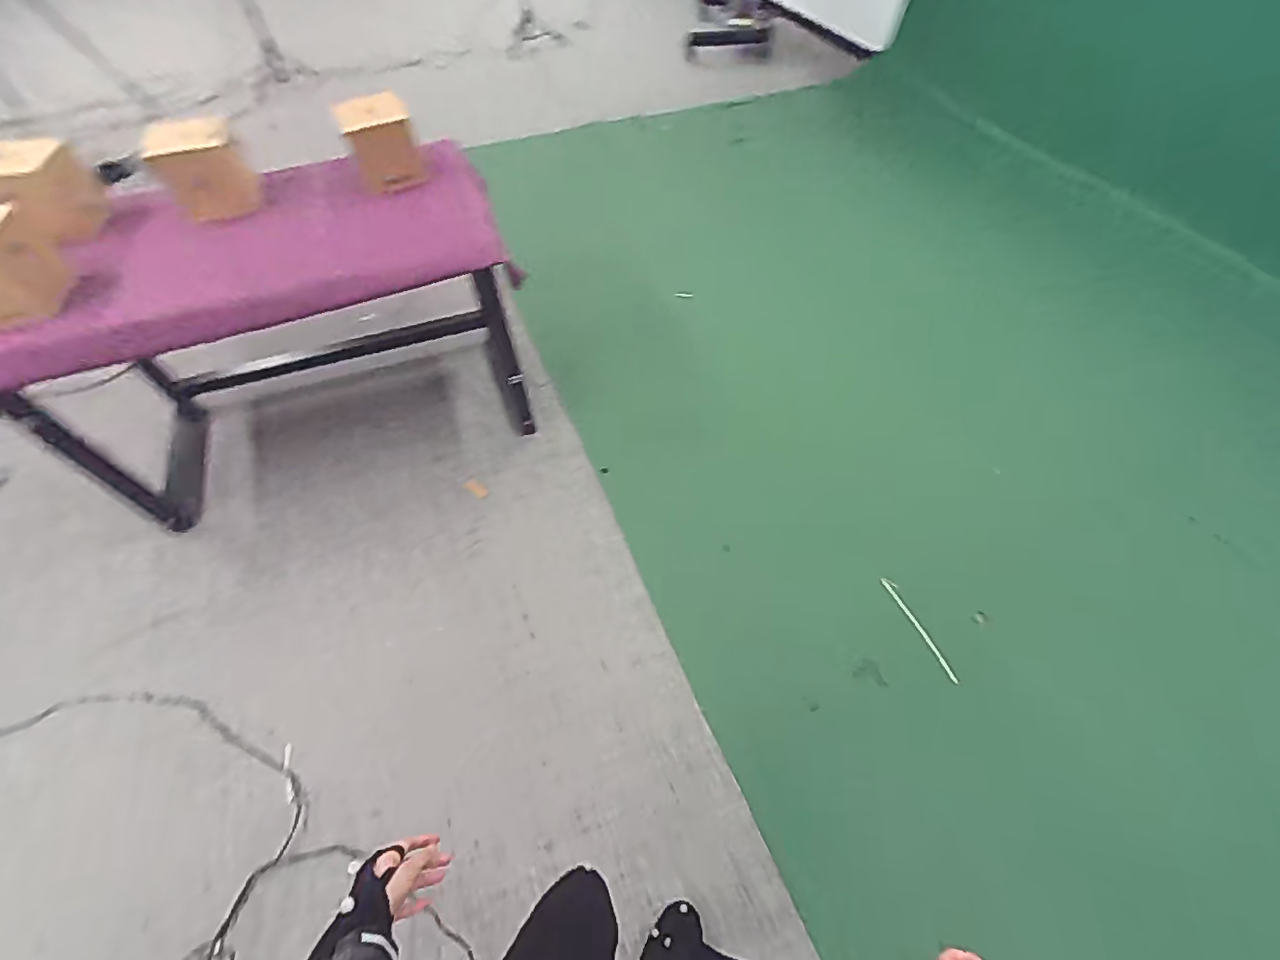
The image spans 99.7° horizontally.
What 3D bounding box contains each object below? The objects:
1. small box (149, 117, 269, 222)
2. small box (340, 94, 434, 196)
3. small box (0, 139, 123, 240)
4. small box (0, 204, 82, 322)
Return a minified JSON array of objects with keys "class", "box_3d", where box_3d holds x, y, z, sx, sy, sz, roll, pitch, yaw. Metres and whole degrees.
[{"class":"small box","box_3d":[-1.091,-0.788,1.382,0.179,0.176,0.168,-19,59,-11]},{"class":"small box","box_3d":[-0.680,-0.903,1.461,0.168,0.176,0.179,-23,59,-13]},{"class":"small box","box_3d":[-1.446,-0.704,1.321,0.179,0.176,0.168,-7,56,-6]},{"class":"small box","box_3d":[-1.358,-0.451,1.145,0.168,0.176,0.179,-11,55,-8]}]
